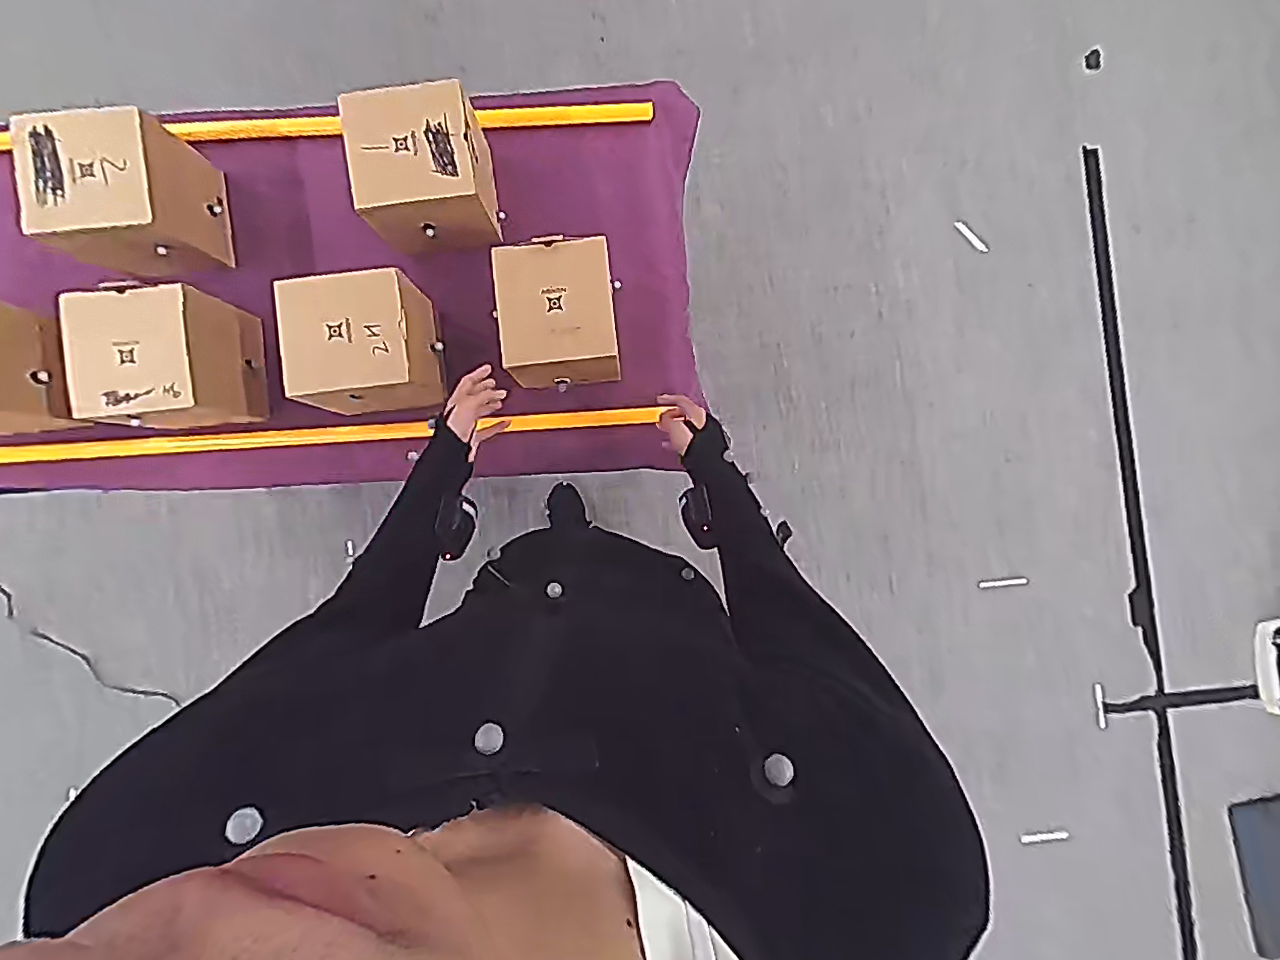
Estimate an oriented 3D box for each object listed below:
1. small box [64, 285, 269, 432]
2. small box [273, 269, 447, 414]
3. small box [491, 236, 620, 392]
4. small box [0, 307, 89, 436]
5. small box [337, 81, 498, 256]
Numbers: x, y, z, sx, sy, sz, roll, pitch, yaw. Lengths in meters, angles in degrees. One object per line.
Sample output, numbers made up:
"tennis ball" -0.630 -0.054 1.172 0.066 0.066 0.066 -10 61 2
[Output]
"small box" -0.703 -0.175 0.821 0.168 0.176 0.179 -5 89 -1
"small box" -0.417 -0.200 0.828 0.179 0.176 0.168 -7 88 -2
"small box" -0.122 -0.246 0.836 0.168 0.176 0.179 -6 87 0
"small box" -0.982 -0.161 0.812 0.179 0.176 0.168 -6 89 -2
"small box" -0.327 -0.467 0.834 0.179 0.176 0.168 -8 91 -1
